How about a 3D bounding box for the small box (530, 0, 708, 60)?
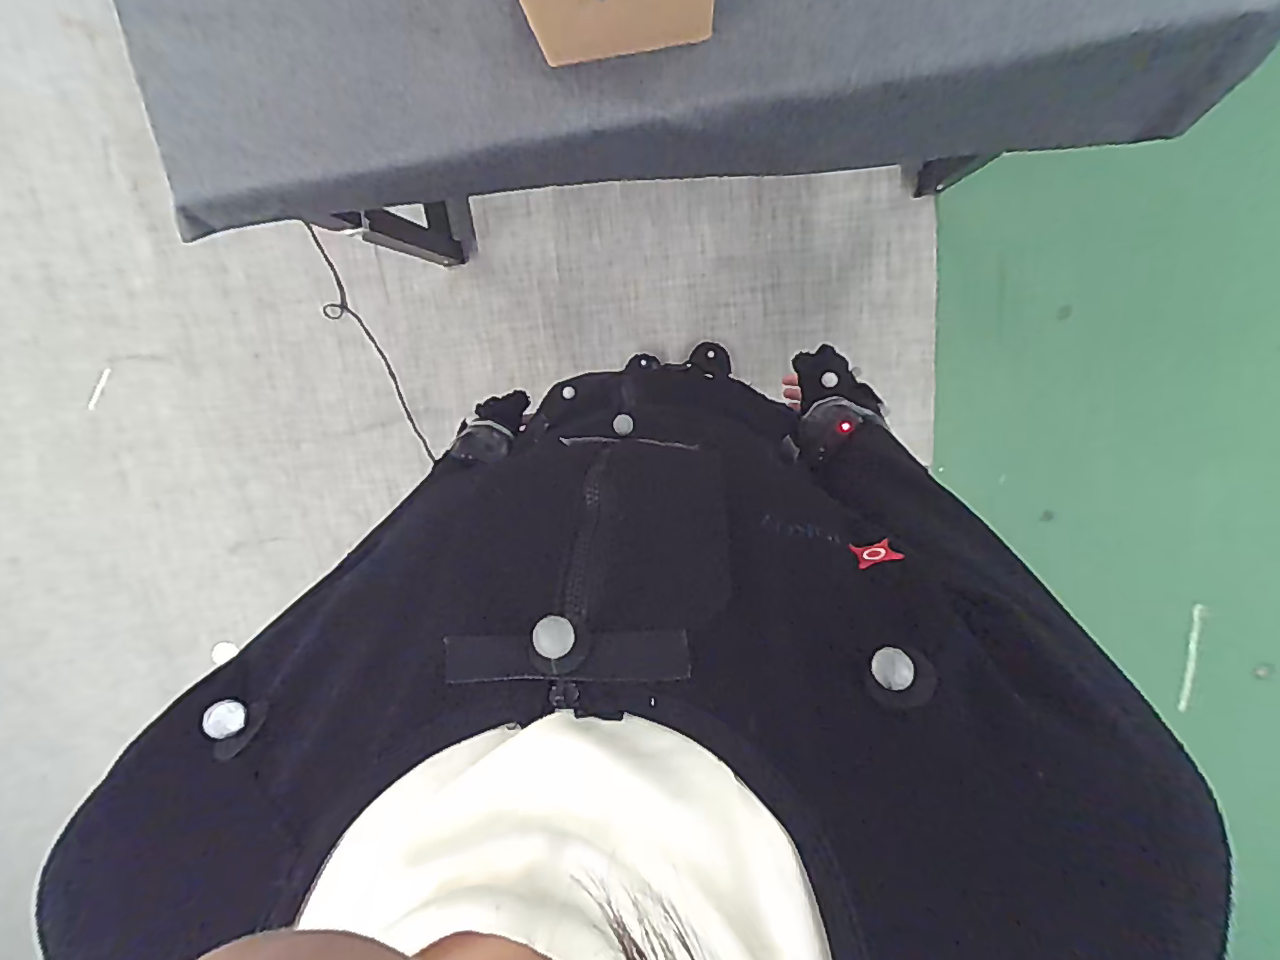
[{"bbox_3d":[-0.027,-0.527,0.497,0.179,0.176,0.168,-5,104,5],"label":"small box"}]
